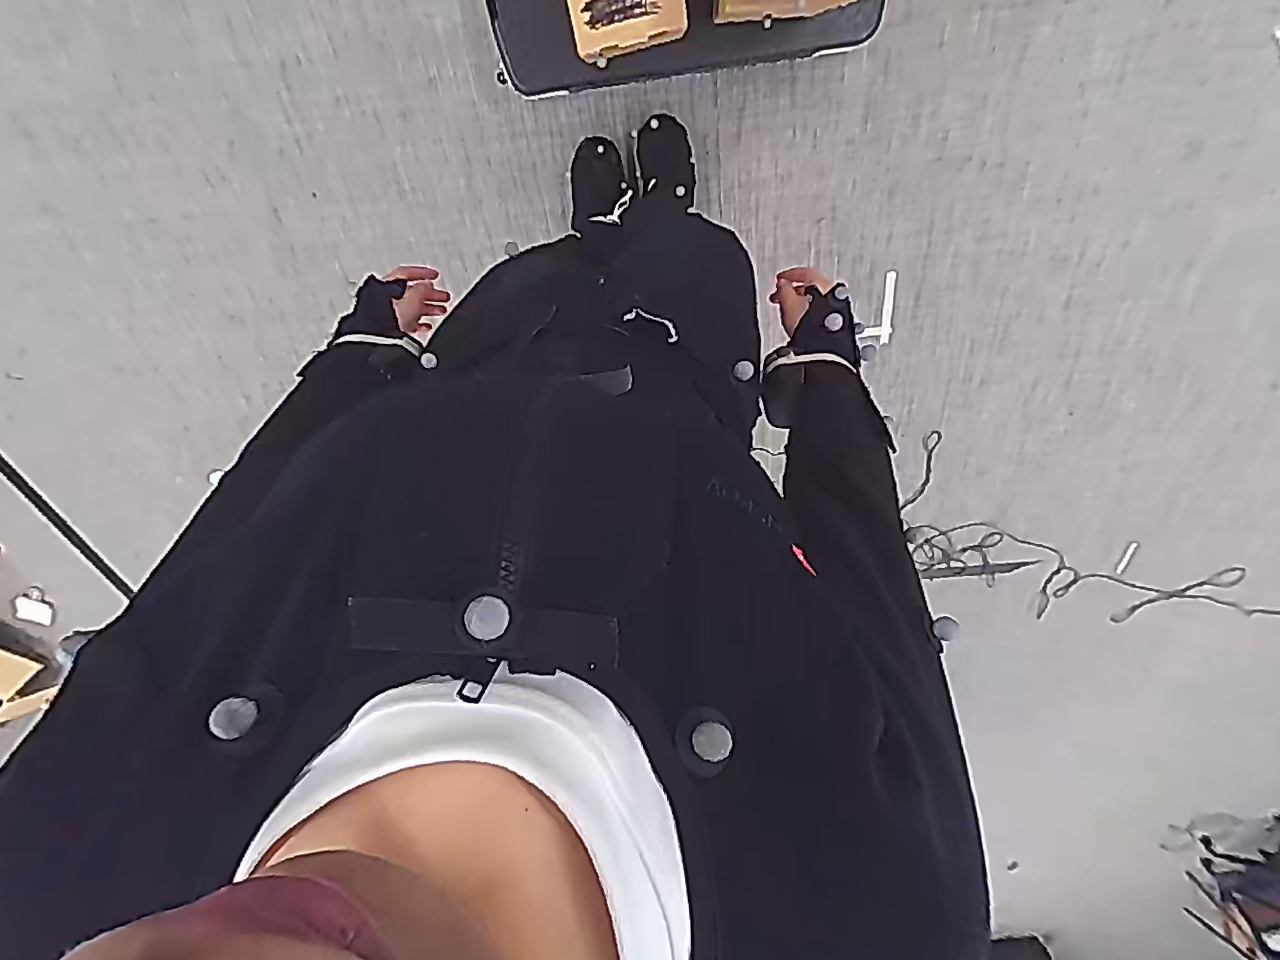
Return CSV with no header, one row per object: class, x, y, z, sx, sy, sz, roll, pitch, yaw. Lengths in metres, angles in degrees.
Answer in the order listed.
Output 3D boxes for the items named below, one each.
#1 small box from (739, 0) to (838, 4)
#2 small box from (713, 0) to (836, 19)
small box,0.209,-0.693,0.651,0.179,0.176,0.168,1,127,0
small box,0.197,-0.788,0.783,0.168,0.176,0.179,-2,126,1
